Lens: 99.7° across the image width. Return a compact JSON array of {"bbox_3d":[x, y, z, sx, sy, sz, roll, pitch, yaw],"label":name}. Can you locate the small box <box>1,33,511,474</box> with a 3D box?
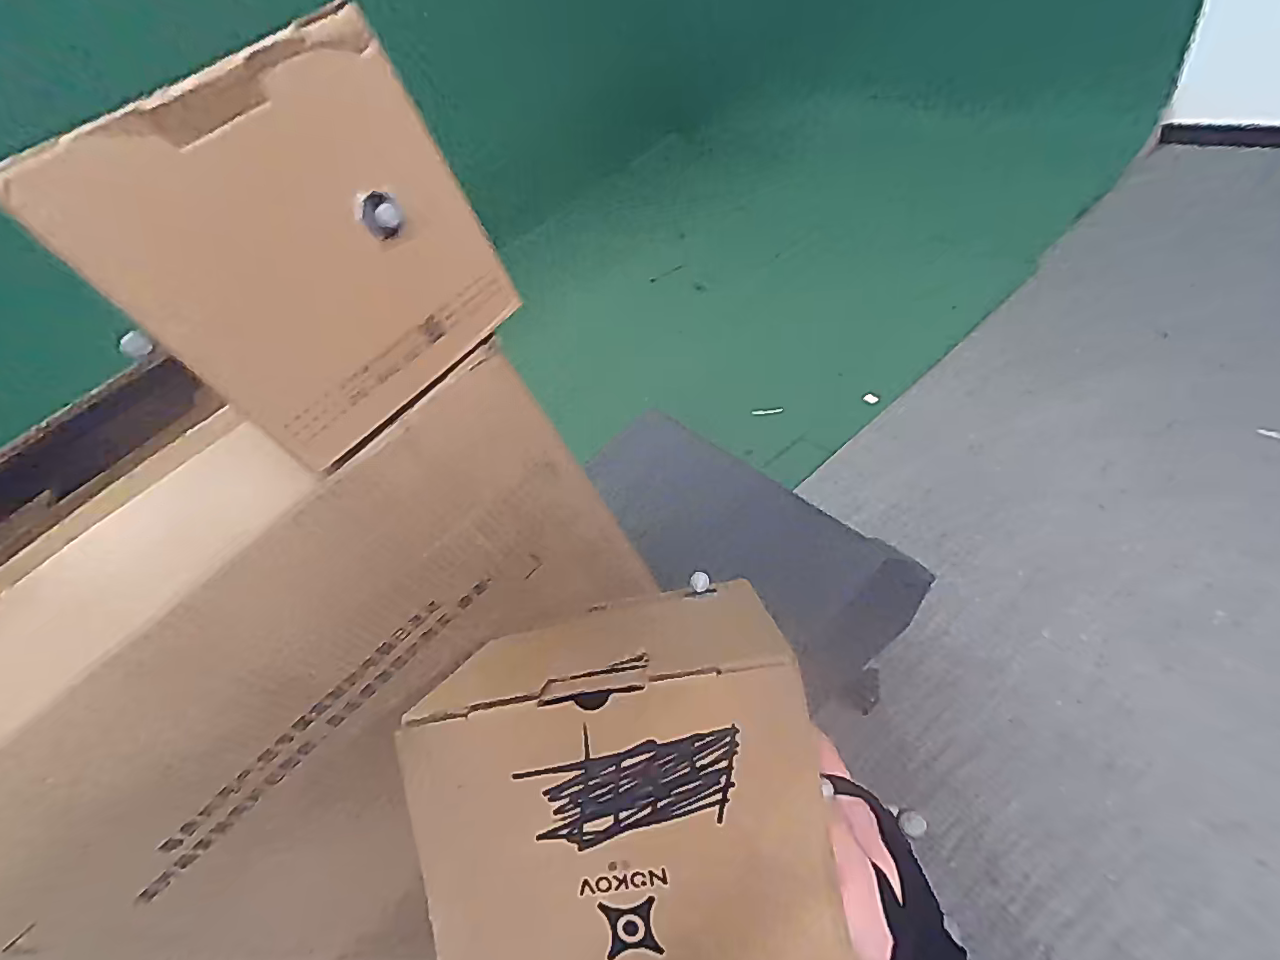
[{"bbox_3d":[-0.213,-0.128,0.334,0.179,0.176,0.168,25,63,39],"label":"small box"}]
